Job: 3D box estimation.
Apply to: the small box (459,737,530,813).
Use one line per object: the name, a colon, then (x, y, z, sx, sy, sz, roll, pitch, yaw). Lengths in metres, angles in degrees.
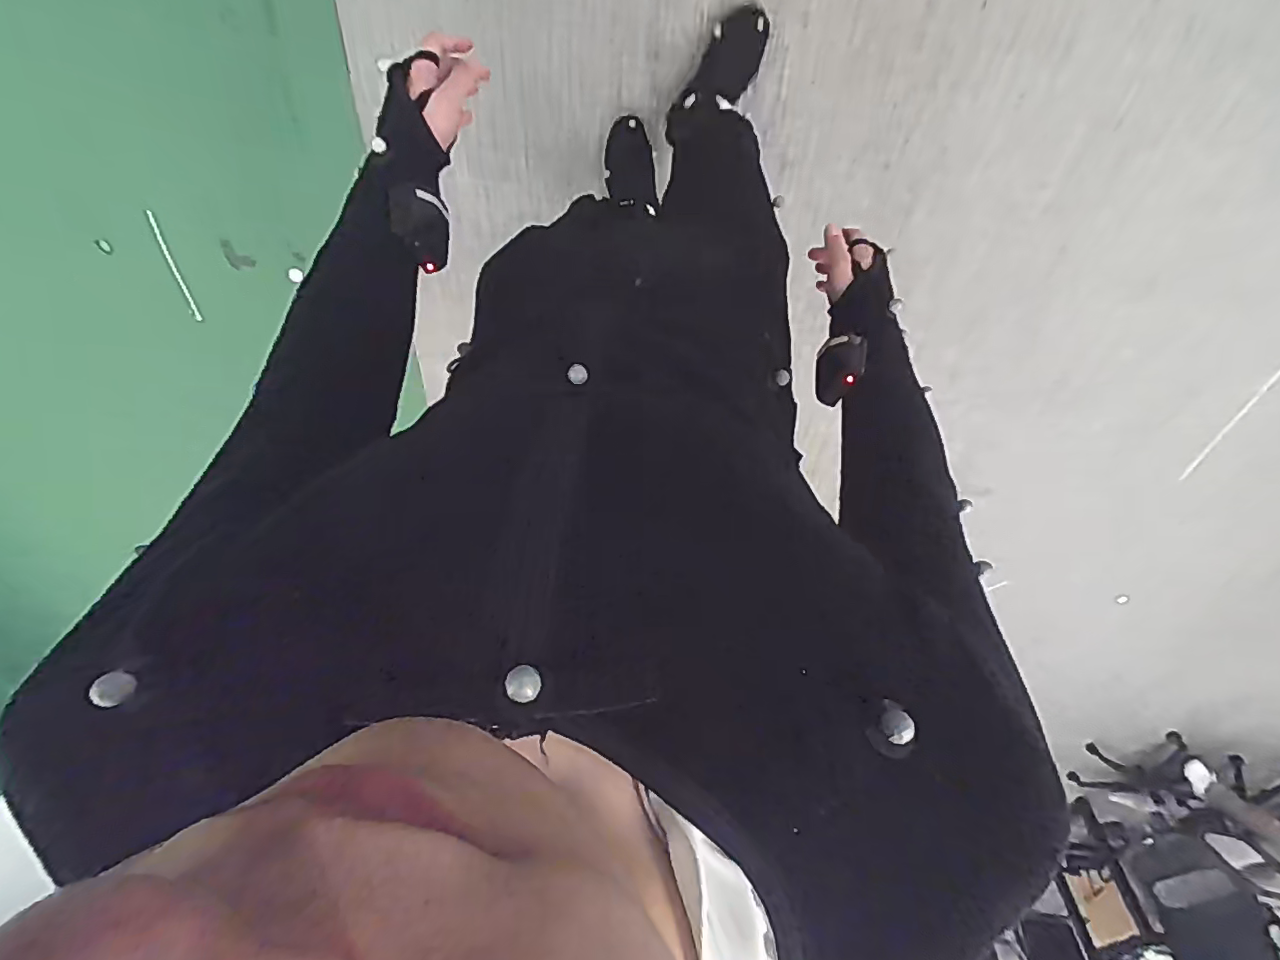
small box: (-0.470, 0.962, 1.772, 0.179, 0.176, 0.168, 4, 132, 1)
